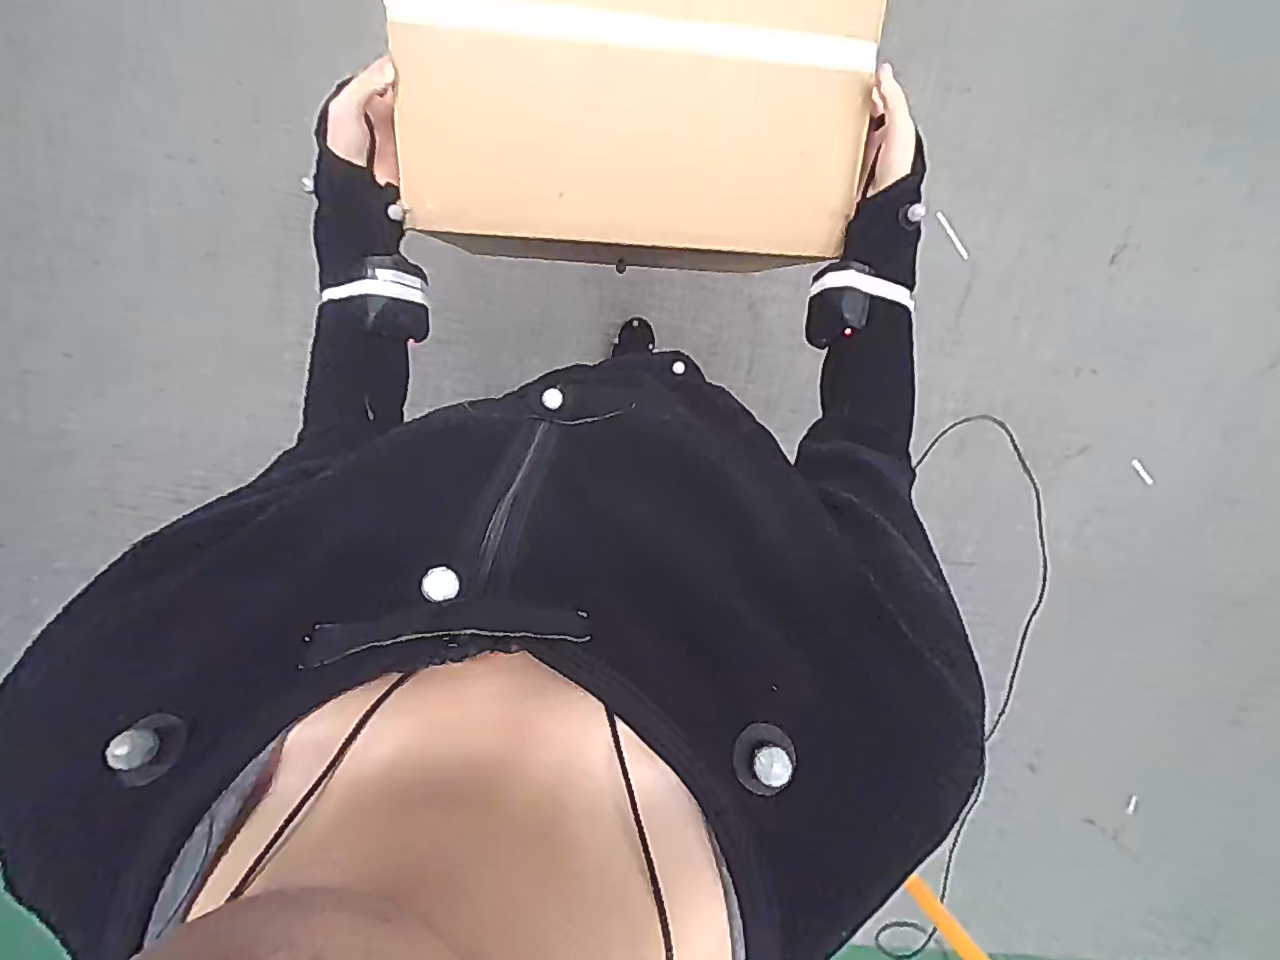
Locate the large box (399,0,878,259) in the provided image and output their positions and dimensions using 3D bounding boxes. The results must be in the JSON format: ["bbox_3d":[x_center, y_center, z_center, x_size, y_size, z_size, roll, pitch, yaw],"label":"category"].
[{"bbox_3d":[-0.009,-0.419,0.594,0.408,0.320,0.320,1,109,-6],"label":"large box"}]
